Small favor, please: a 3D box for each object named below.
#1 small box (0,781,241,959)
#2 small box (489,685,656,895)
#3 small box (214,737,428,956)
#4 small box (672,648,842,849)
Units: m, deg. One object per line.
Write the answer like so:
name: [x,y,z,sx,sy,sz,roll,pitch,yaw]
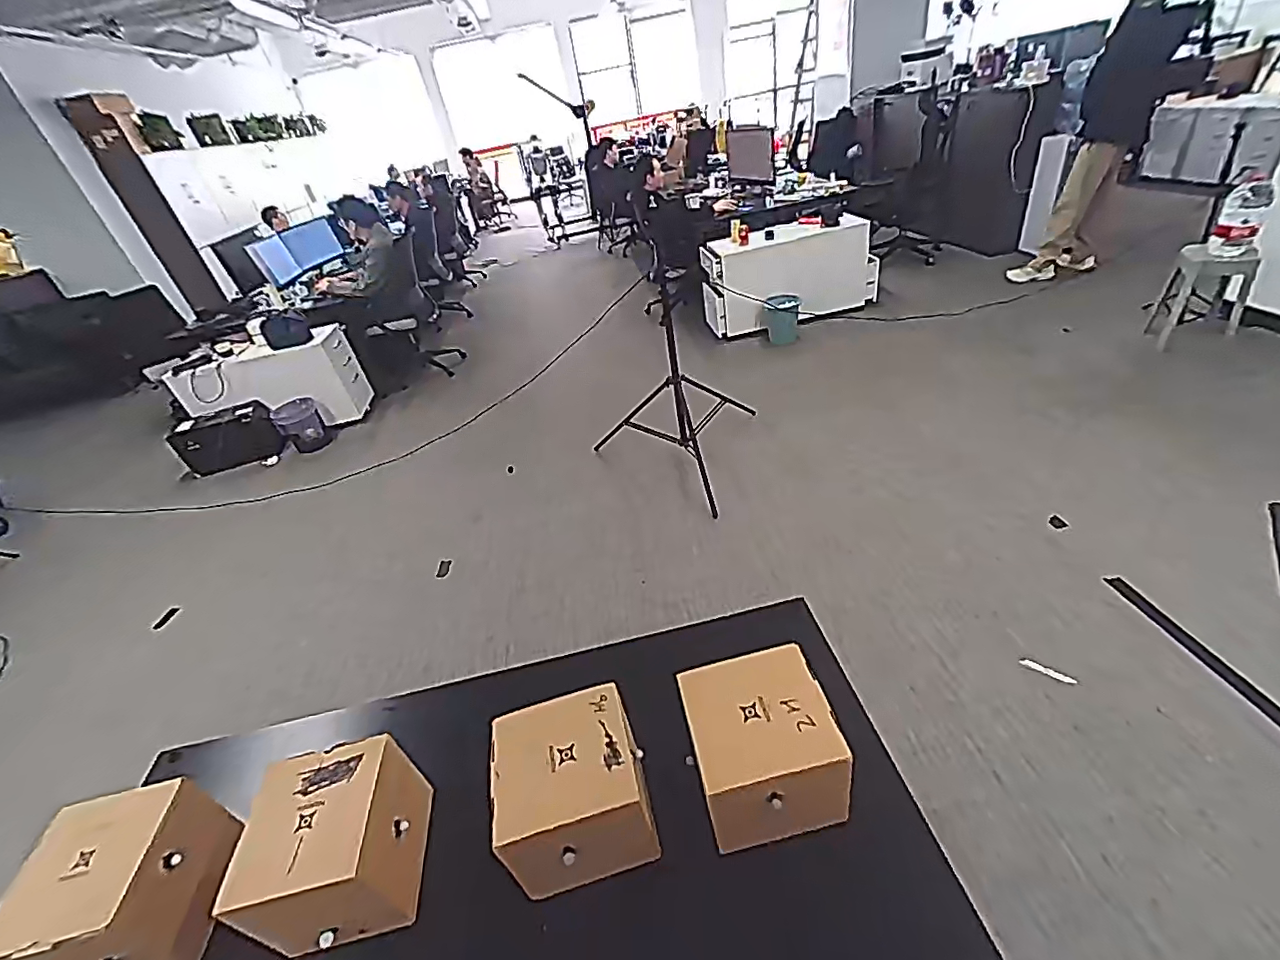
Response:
small box: [-0.682,0.547,0.719,0.168,0.176,0.179,-13,34,-4]
small box: [-0.091,0.417,0.729,0.179,0.176,0.168,-16,35,-5]
small box: [-0.401,0.486,0.722,0.168,0.176,0.179,-14,36,-3]
small box: [0.154,0.363,0.731,0.179,0.176,0.168,-13,35,-2]
